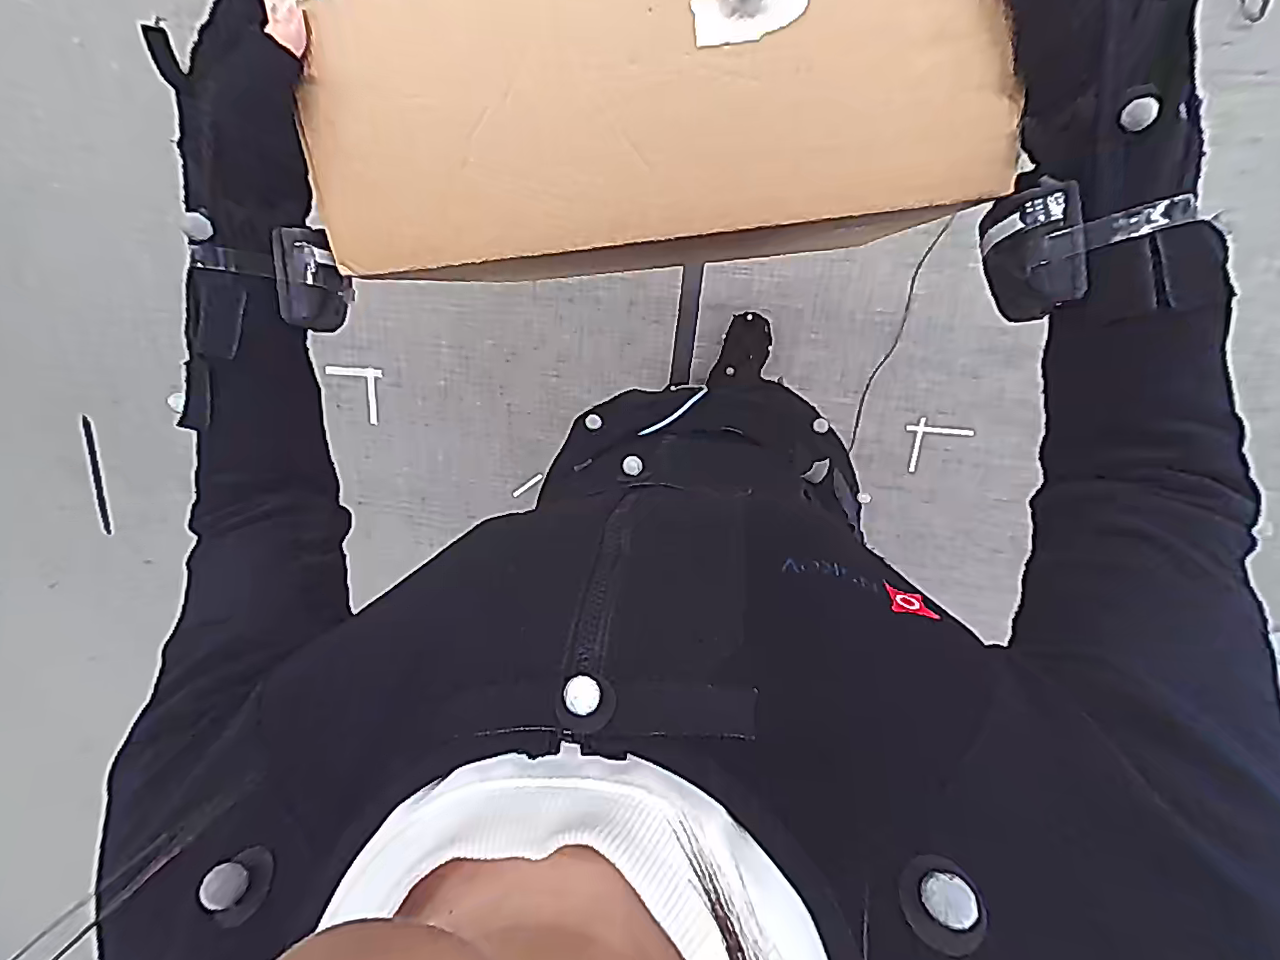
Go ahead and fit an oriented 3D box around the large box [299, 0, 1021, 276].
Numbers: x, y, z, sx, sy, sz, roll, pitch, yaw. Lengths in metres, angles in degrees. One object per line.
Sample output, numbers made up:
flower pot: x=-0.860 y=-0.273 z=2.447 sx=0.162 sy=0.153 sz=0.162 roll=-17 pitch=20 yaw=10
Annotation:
large box: x=0.011 y=-0.351 z=0.425 sx=0.408 sy=0.320 sz=0.320 roll=-3 pitch=110 yaw=9
